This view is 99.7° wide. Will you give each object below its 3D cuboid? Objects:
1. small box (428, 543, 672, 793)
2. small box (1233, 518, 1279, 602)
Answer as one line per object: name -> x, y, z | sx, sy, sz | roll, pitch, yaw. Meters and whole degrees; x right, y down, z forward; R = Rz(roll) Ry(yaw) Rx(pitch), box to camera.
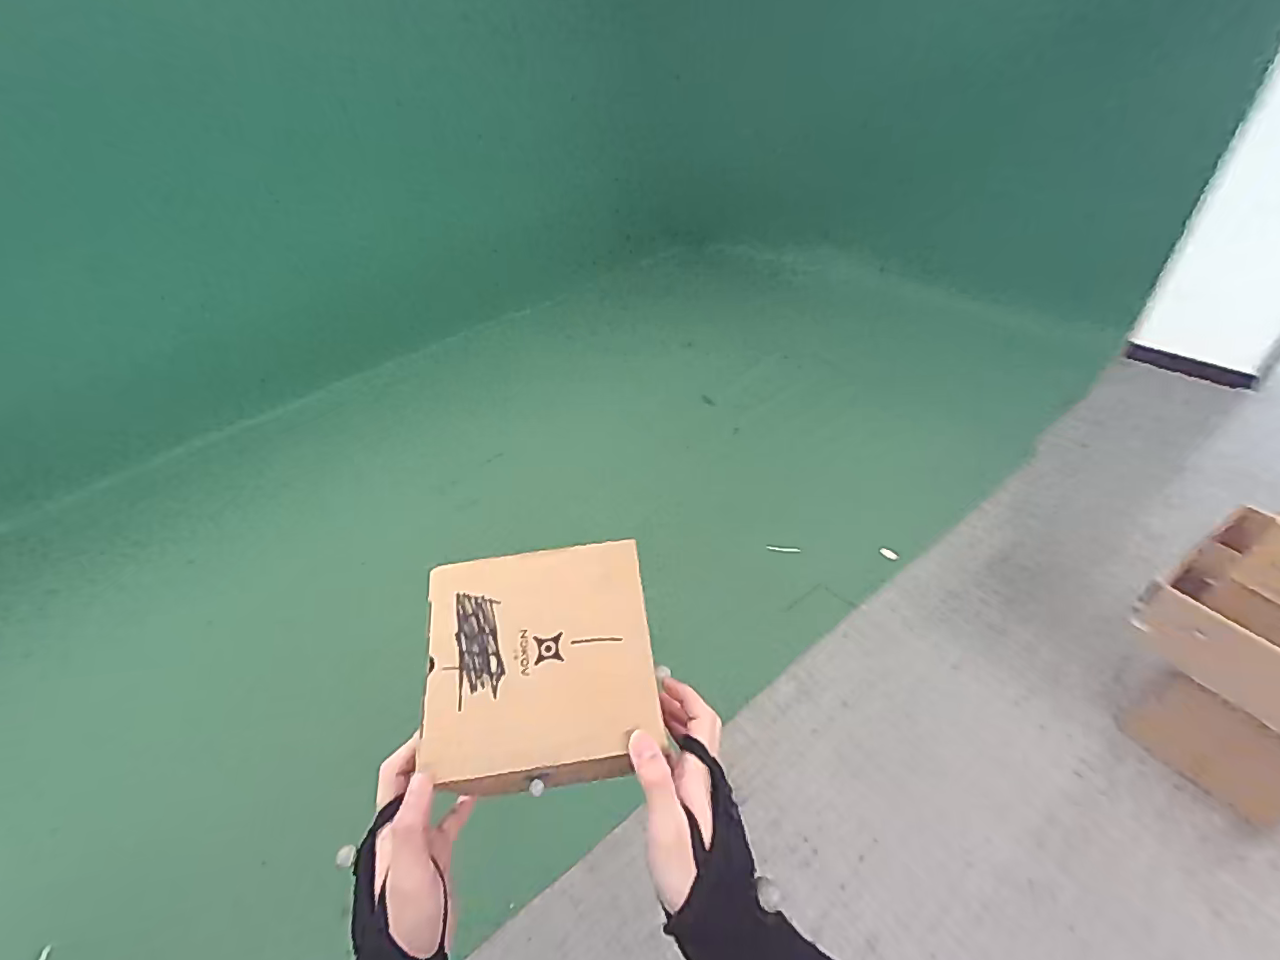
small box -> -0.067, 0.175, 0.487 | 0.179, 0.176, 0.168 | -7, 57, -2
small box -> 1.325, 0.150, 1.045 | 0.179, 0.176, 0.168 | -25, 44, -17
